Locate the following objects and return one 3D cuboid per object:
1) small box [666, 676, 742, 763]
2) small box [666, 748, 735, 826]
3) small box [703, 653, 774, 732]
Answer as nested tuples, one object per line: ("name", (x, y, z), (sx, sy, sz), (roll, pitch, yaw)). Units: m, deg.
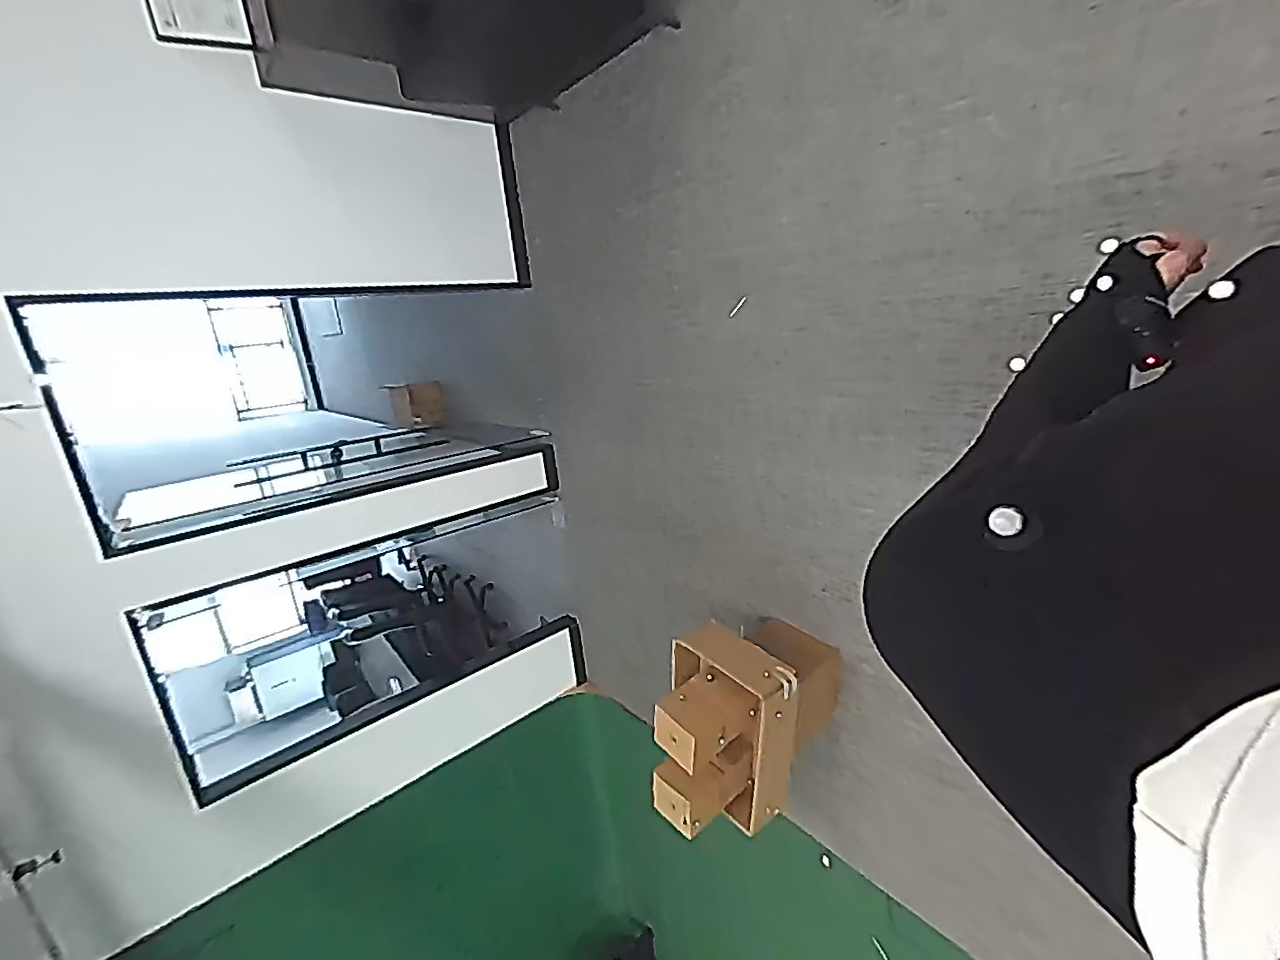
("small box", (0.208, 0.771, 1.770), (0.179, 0.176, 0.168), (27, 125, 44))
("small box", (0.209, 1.041, 1.881), (0.179, 0.176, 0.168), (20, 121, 48))
("small box", (0.332, 0.726, 1.864), (0.179, 0.176, 0.168), (29, 126, 44))
